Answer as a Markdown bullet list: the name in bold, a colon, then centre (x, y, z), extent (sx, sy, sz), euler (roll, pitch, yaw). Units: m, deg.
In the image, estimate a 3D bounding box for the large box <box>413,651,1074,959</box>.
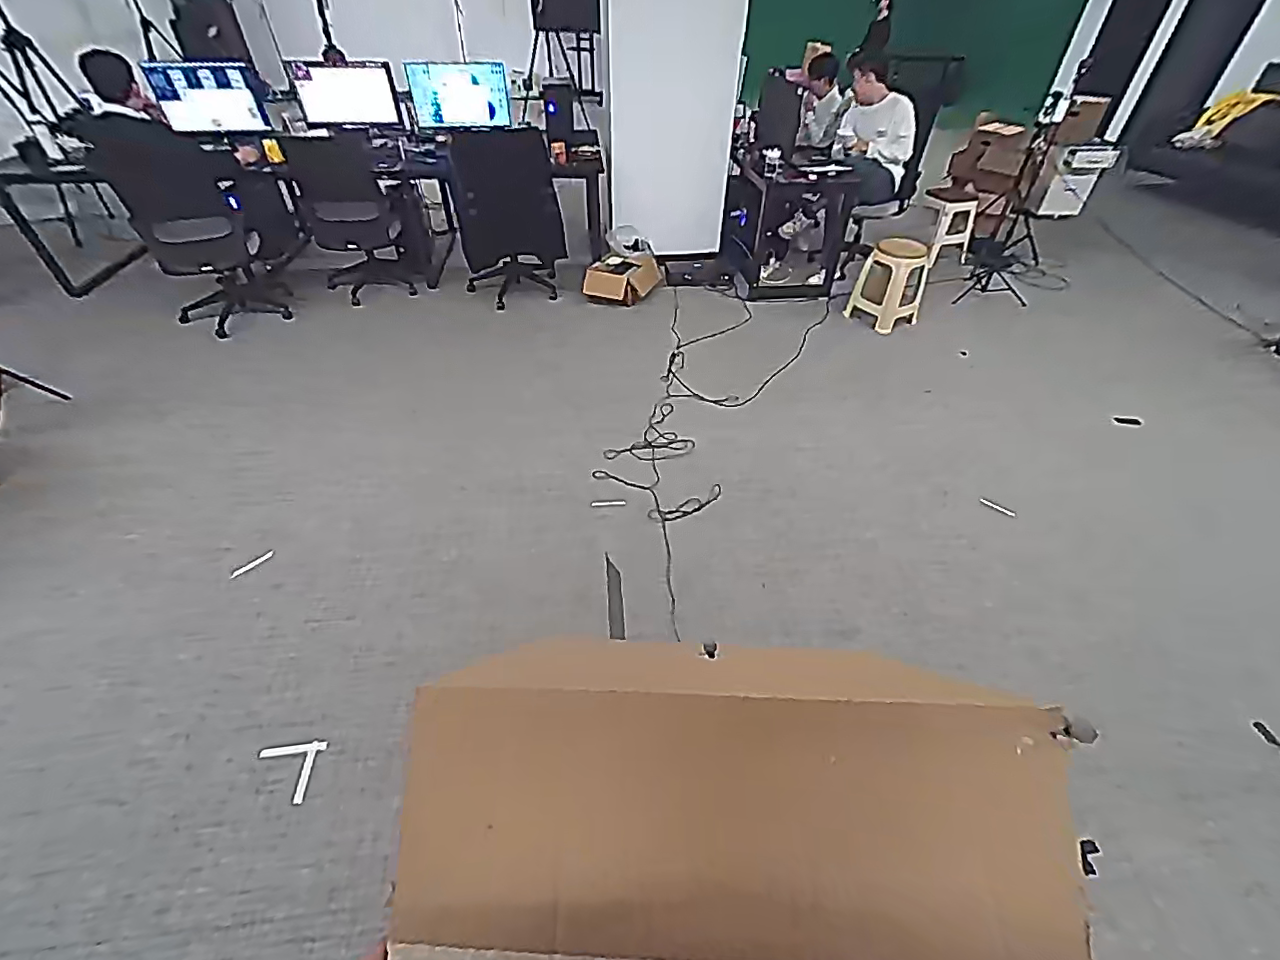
- **large box**: centre (0.061, 0.324, 0.470), extent (0.408, 0.320, 0.320), euler (0, 80, 3)
